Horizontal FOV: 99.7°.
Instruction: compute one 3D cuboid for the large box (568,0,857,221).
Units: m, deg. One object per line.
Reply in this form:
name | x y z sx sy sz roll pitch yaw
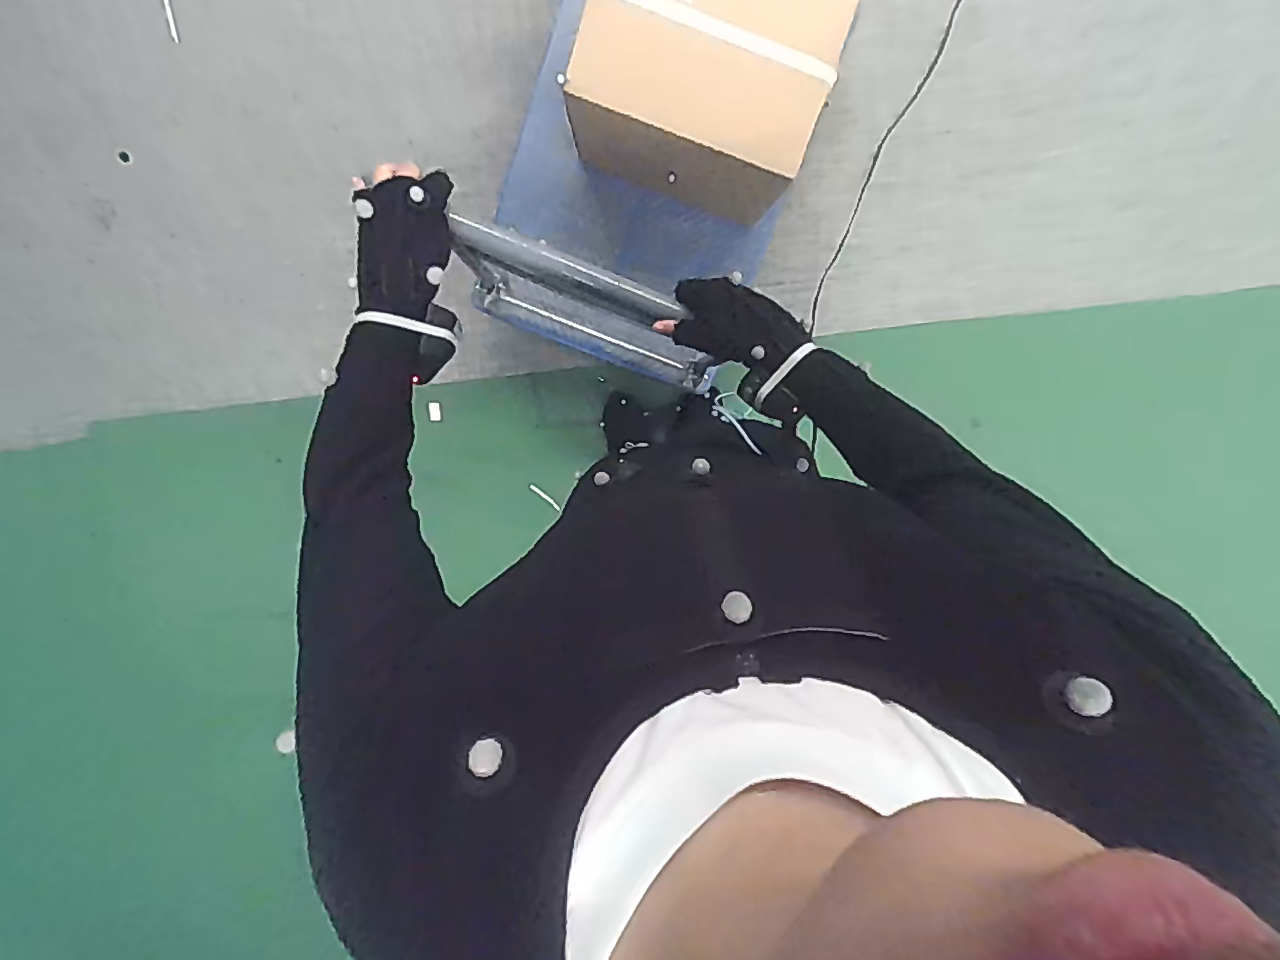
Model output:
large box | 0.118 -0.729 1.001 0.408 0.320 0.320 18 100 -4
